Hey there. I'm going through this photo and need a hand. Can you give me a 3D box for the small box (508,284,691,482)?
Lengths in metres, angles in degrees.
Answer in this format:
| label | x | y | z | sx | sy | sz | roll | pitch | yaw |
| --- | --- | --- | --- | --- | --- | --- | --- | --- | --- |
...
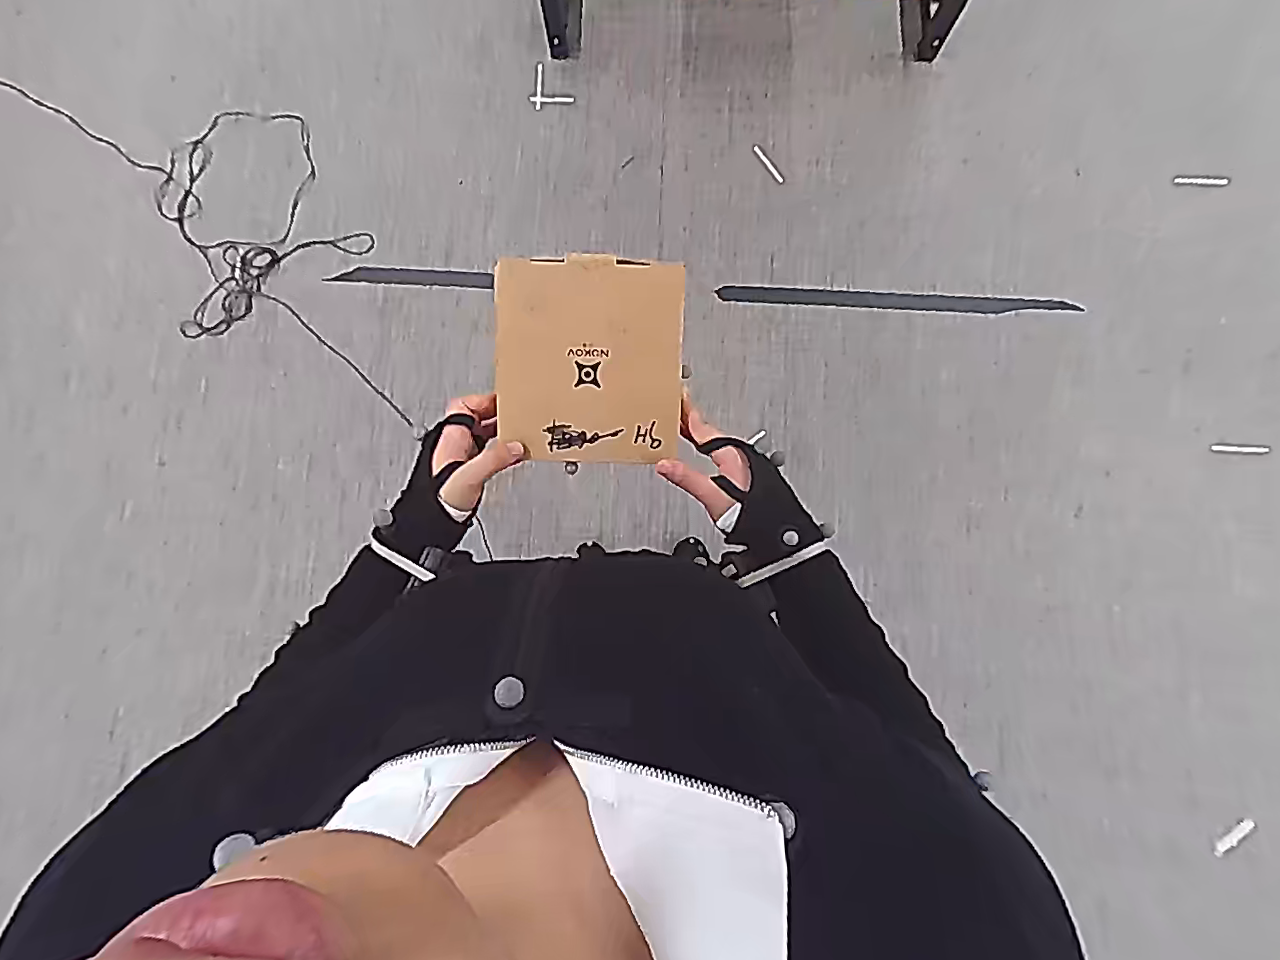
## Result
| label | x | y | z | sx | sy | sz | roll | pitch | yaw |
| --- | --- | --- | --- | --- | --- | --- | --- | --- | --- |
| small box | -0.038 | -0.097 | 0.573 | 0.168 | 0.176 | 0.179 | 2 | 98 | 1 |
